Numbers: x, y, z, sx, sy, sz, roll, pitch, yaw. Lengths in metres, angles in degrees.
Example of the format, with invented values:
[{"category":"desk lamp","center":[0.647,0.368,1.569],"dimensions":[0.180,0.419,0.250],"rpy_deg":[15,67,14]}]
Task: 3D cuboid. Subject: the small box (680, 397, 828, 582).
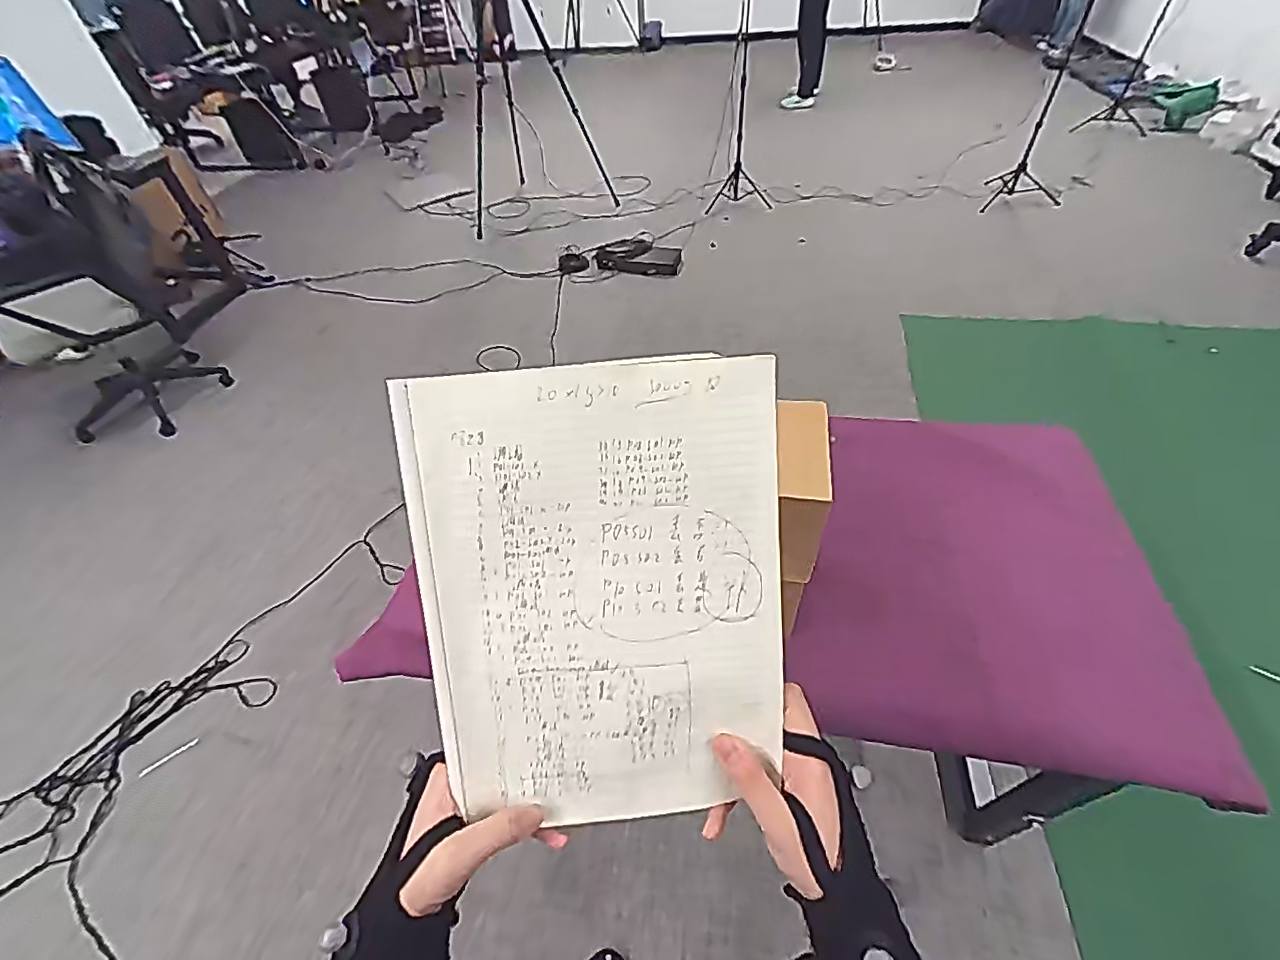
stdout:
[{"category":"small box","center":[0.148,0.013,0.713],"dimensions":[0.168,0.176,0.179],"rpy_deg":[6,46,10]}]
